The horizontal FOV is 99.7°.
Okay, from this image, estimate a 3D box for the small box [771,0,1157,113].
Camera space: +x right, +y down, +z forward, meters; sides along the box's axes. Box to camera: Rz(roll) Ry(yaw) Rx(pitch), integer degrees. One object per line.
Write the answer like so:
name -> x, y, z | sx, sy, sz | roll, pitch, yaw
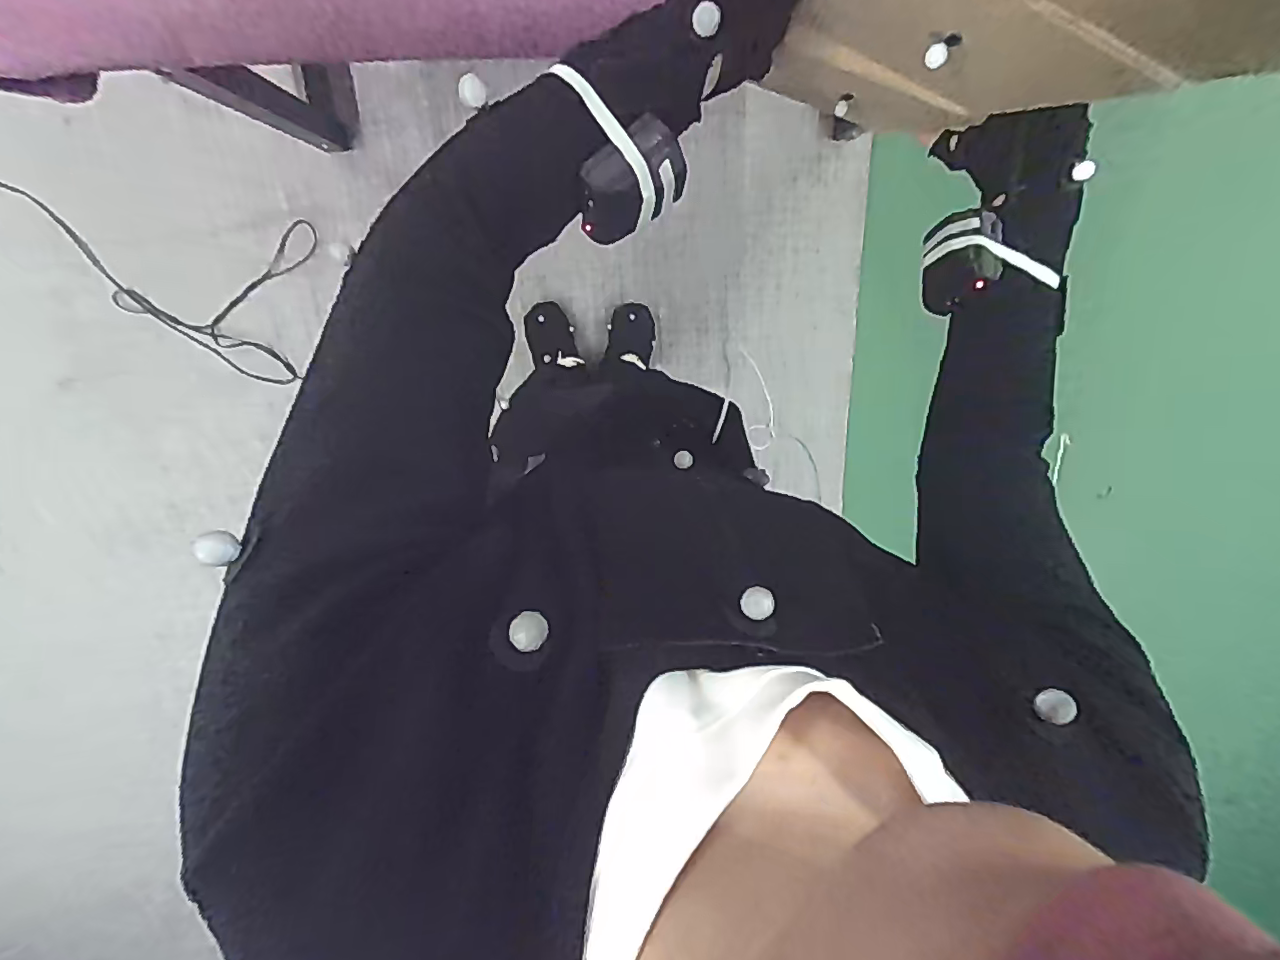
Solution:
small box -> 0.200, -0.326, 0.294 | 0.179, 0.176, 0.168 | 16, 116, -13
